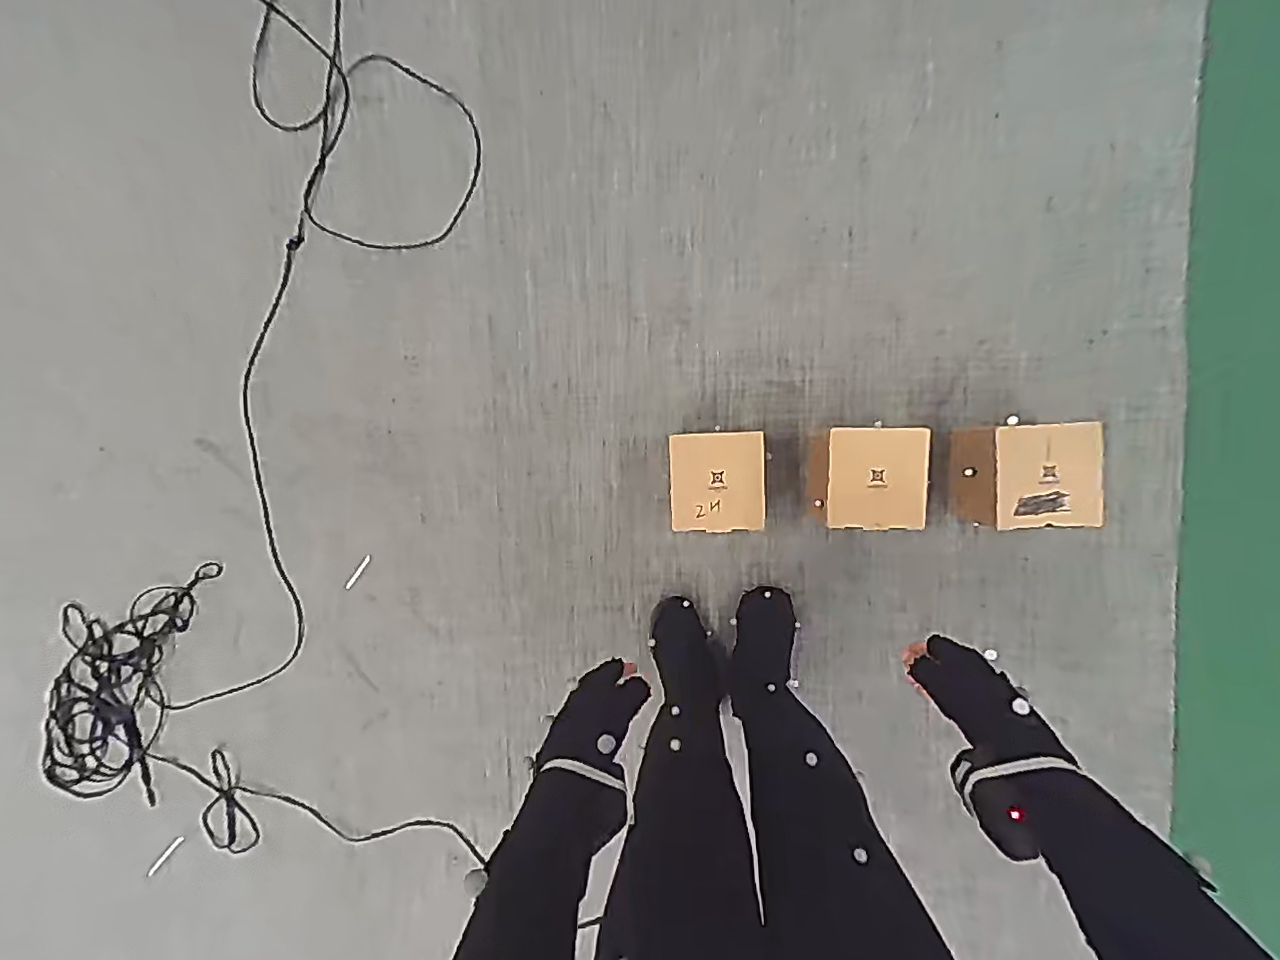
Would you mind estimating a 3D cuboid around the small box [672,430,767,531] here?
[{"bbox_3d":[0.147,-0.001,1.023,0.168,0.176,0.179,-1,94,8],"label":"small box"}]

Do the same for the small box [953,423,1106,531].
[{"bbox_3d":[0.681,-0.009,0.963,0.168,0.176,0.179,-3,93,7],"label":"small box"}]

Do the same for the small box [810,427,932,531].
[{"bbox_3d":[0.414,-0.006,0.995,0.168,0.176,0.179,1,94,6],"label":"small box"}]
